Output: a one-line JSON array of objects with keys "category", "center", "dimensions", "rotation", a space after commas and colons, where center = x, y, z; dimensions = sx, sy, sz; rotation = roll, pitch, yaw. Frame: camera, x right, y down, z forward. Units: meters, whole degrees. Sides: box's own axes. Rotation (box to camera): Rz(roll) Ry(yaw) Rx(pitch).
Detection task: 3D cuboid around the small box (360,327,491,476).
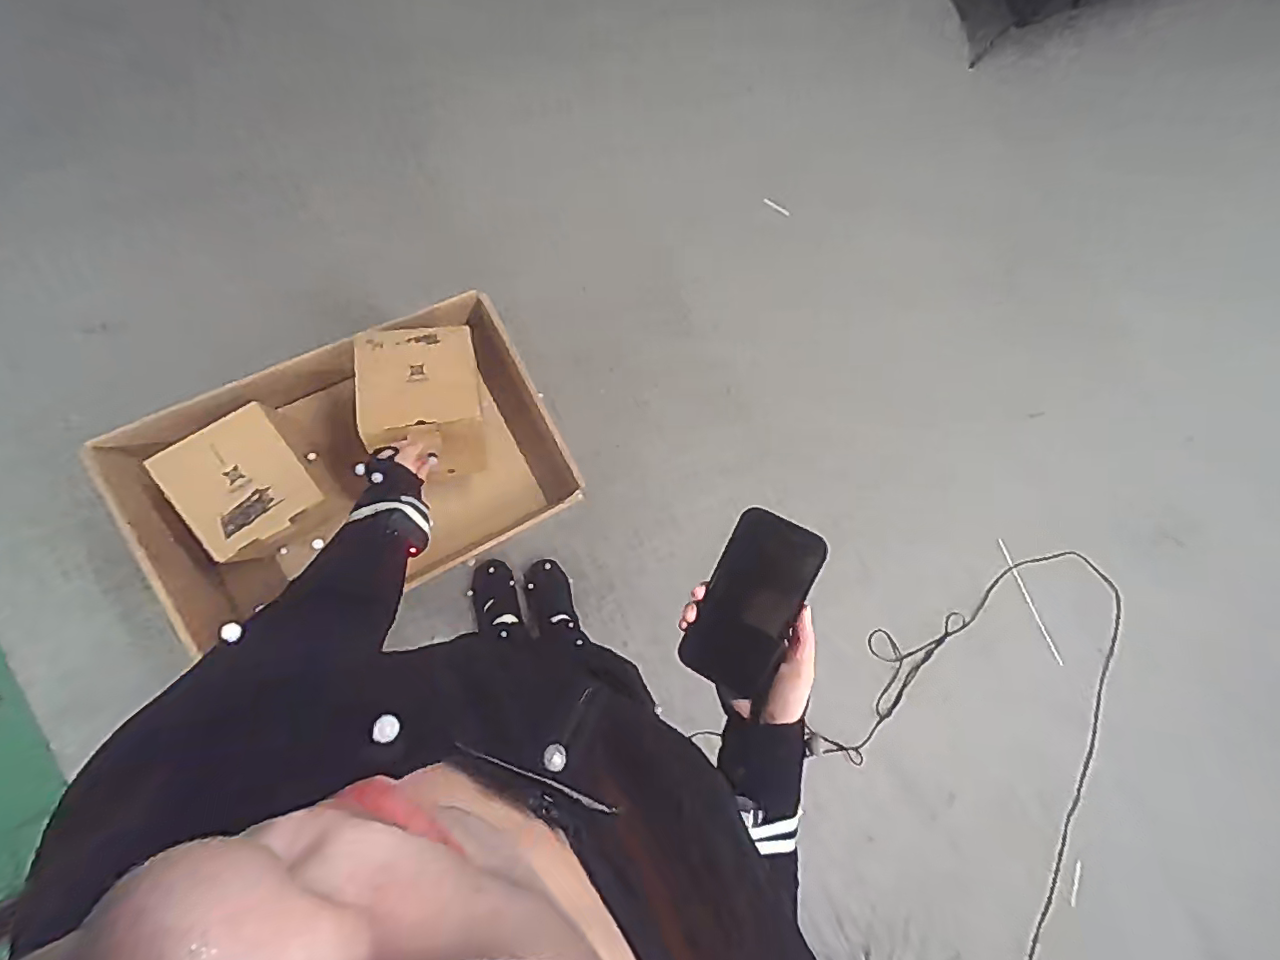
[{"category": "small box", "center": [-0.331, -0.115, 0.854], "dimensions": [0.168, 0.176, 0.179], "rotation": [-7, 67, -15]}]
